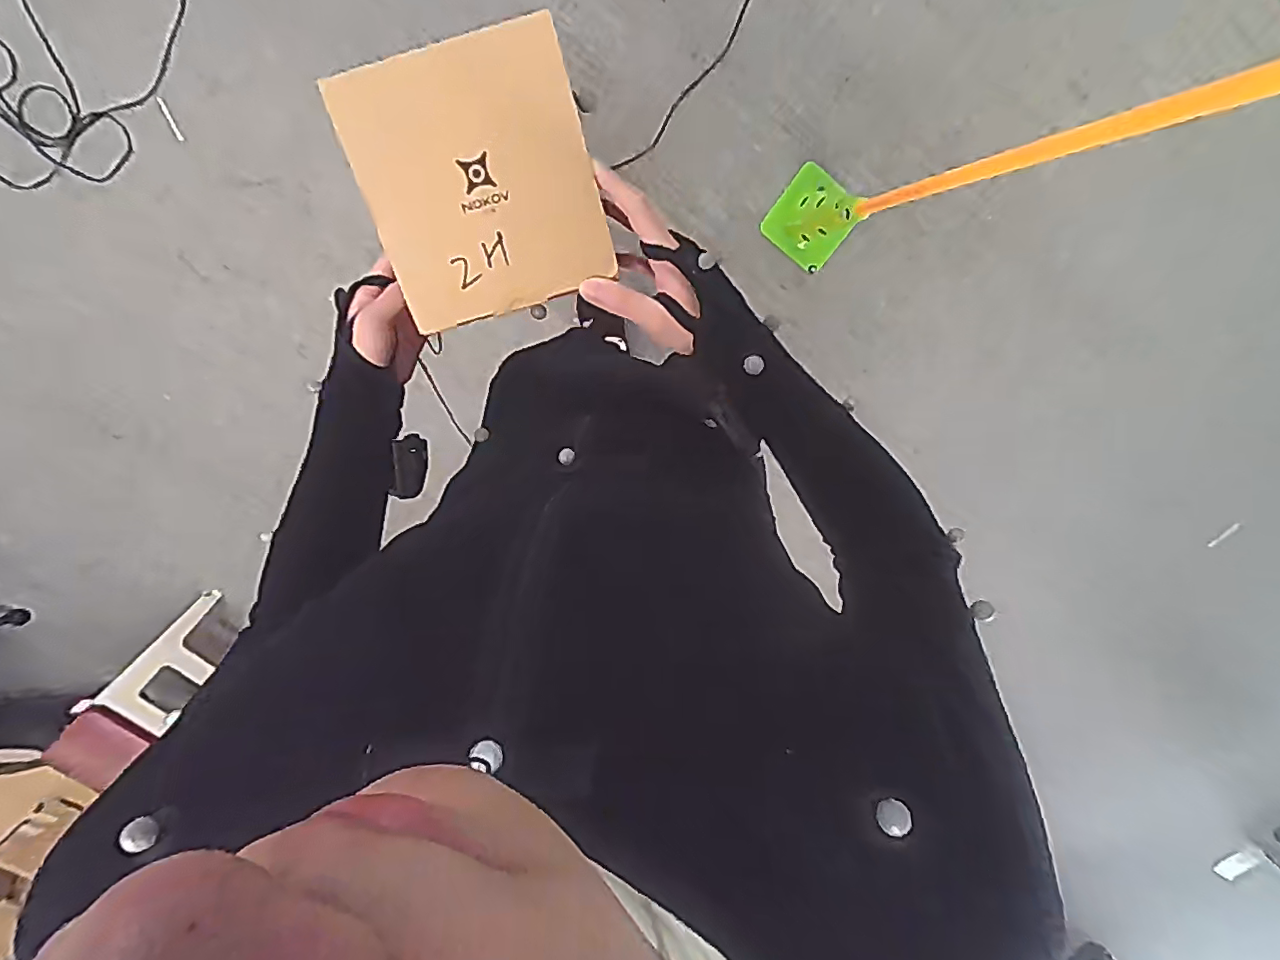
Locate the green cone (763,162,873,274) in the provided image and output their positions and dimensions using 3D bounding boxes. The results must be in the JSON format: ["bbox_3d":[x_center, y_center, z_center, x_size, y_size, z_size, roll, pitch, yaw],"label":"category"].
[{"bbox_3d":[0.440,-0.600,1.211,0.202,0.368,0.200,34,107,-12],"label":"green cone"}]
